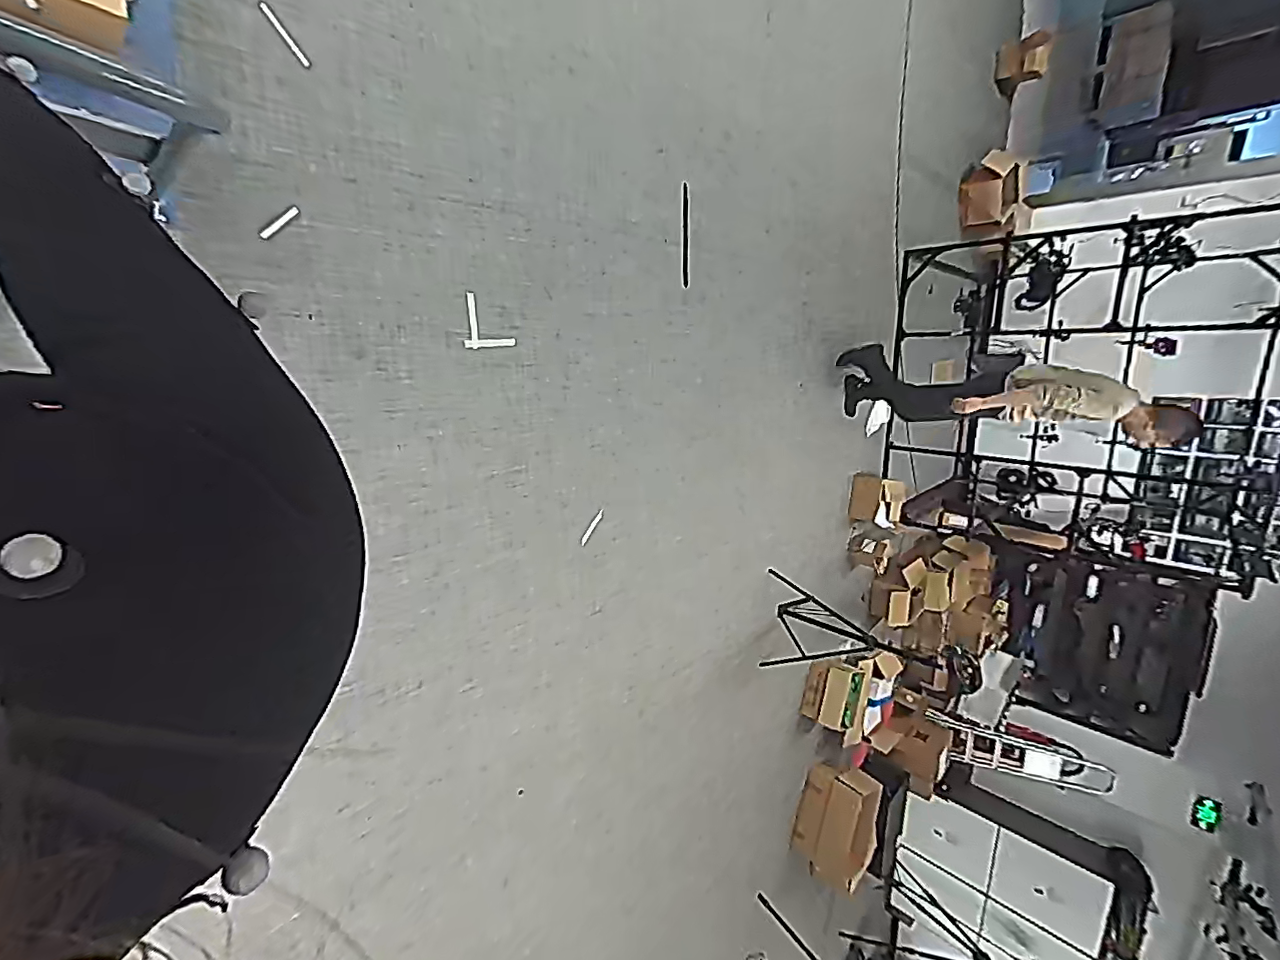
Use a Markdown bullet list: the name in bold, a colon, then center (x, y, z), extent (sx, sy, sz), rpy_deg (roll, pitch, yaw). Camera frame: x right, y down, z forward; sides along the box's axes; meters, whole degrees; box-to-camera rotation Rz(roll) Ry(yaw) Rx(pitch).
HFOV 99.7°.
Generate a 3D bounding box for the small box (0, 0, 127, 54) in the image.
- **small box**: center (-0.861, -0.758, 0.771), extent (0.179, 0.176, 0.168), rpy_deg (-6, 104, -46)
